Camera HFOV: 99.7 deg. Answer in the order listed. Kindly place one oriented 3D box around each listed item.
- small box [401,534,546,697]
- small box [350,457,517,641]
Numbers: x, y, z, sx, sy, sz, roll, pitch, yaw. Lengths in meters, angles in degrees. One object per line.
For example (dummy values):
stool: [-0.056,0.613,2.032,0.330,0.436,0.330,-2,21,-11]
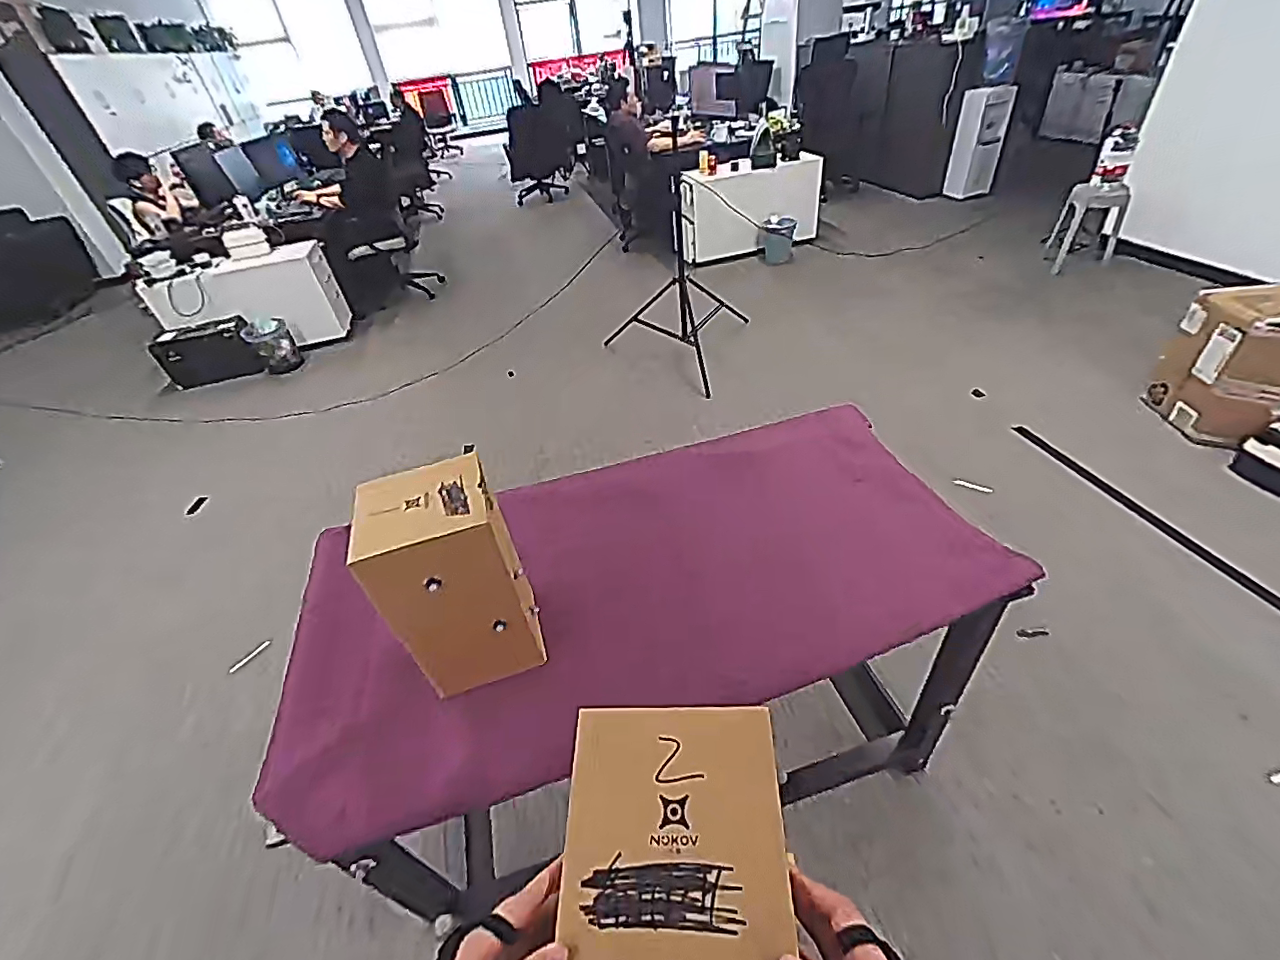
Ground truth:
small box: [-0.268,0.221,0.882,0.179,0.176,0.168,-17,40,-10]
small box: [-0.283,0.098,0.774,0.179,0.176,0.168,-17,40,-10]
